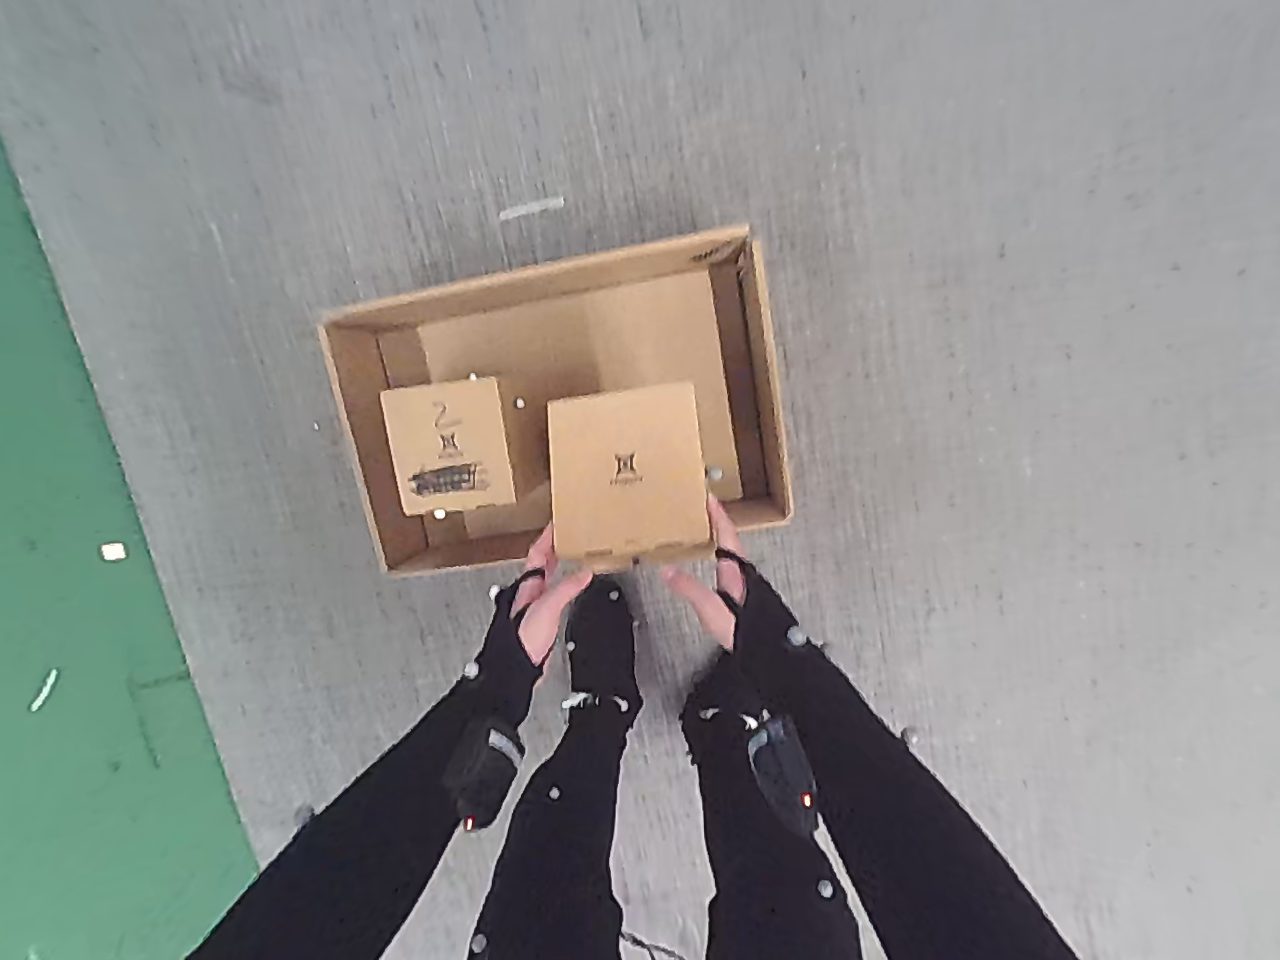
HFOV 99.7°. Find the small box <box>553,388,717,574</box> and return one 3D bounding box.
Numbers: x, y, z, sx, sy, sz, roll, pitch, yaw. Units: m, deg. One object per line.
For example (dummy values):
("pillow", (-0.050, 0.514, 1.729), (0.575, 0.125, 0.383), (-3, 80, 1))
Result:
("small box", (0.000, 0.011, 0.646), (0.168, 0.176, 0.179), (-7, 75, 7))
